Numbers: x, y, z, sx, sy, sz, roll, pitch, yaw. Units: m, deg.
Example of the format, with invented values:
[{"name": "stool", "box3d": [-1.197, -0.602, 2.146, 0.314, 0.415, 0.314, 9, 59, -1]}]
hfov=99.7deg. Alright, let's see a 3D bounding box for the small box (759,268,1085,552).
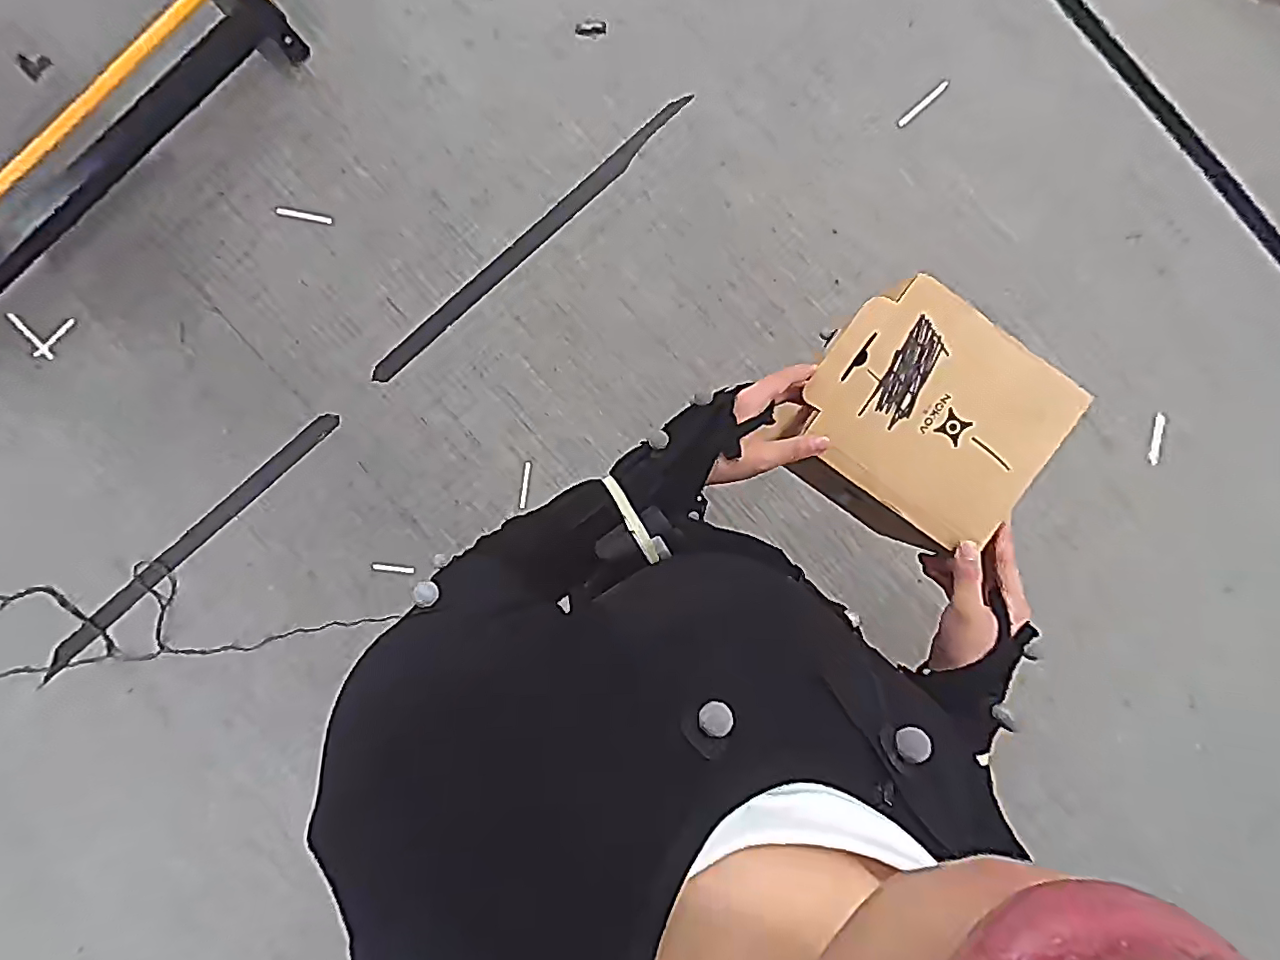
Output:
[{"name": "small box", "box3d": [0.238, -0.058, 0.510, 0.179, 0.176, 0.168, 35, 93, -3]}]
